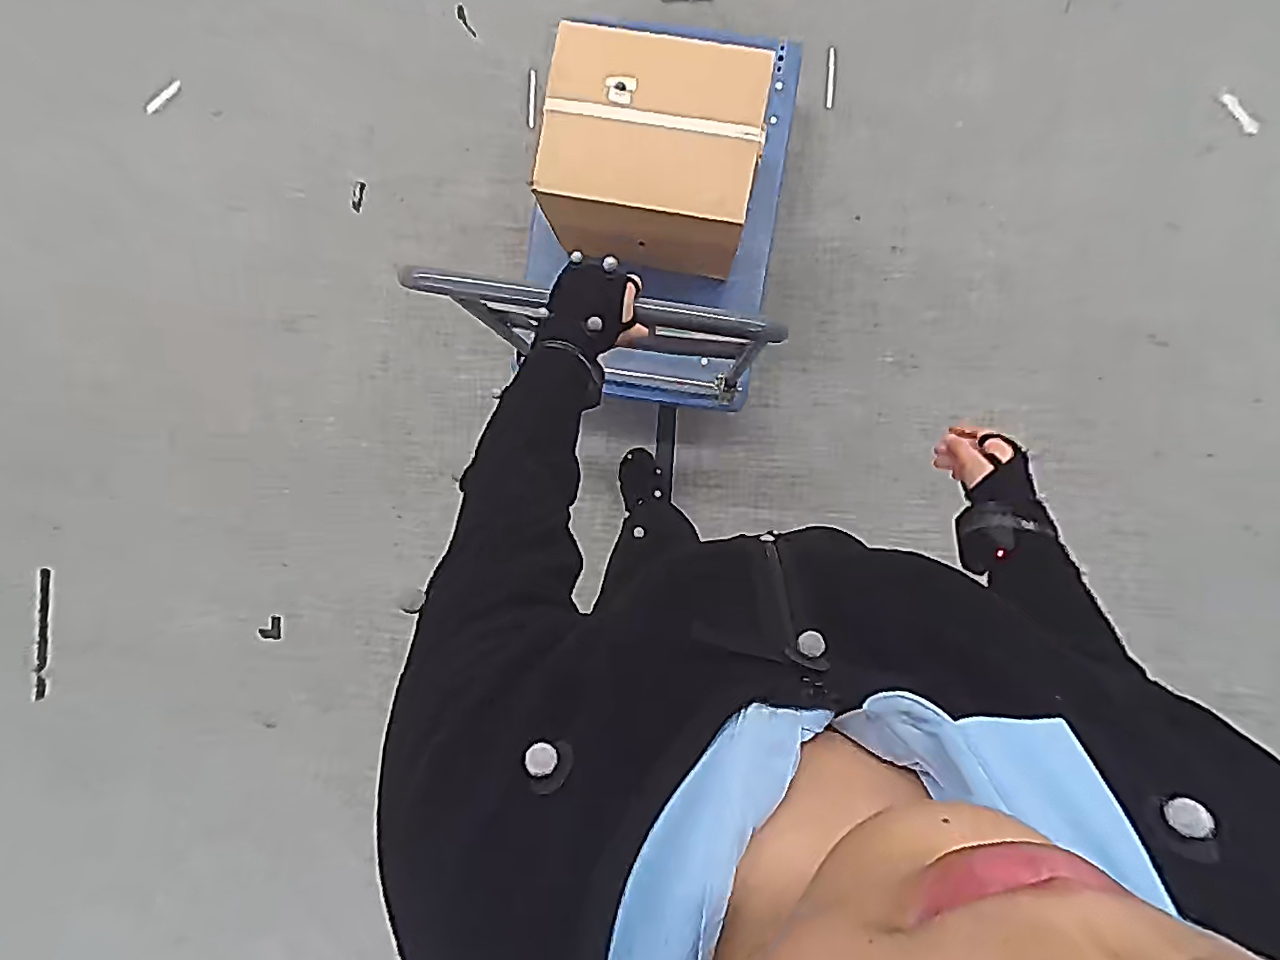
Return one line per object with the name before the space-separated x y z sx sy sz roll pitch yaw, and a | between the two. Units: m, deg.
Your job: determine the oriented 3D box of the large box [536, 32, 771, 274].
large box | 0.036 -0.665 1.155 0.408 0.320 0.320 11 91 5
